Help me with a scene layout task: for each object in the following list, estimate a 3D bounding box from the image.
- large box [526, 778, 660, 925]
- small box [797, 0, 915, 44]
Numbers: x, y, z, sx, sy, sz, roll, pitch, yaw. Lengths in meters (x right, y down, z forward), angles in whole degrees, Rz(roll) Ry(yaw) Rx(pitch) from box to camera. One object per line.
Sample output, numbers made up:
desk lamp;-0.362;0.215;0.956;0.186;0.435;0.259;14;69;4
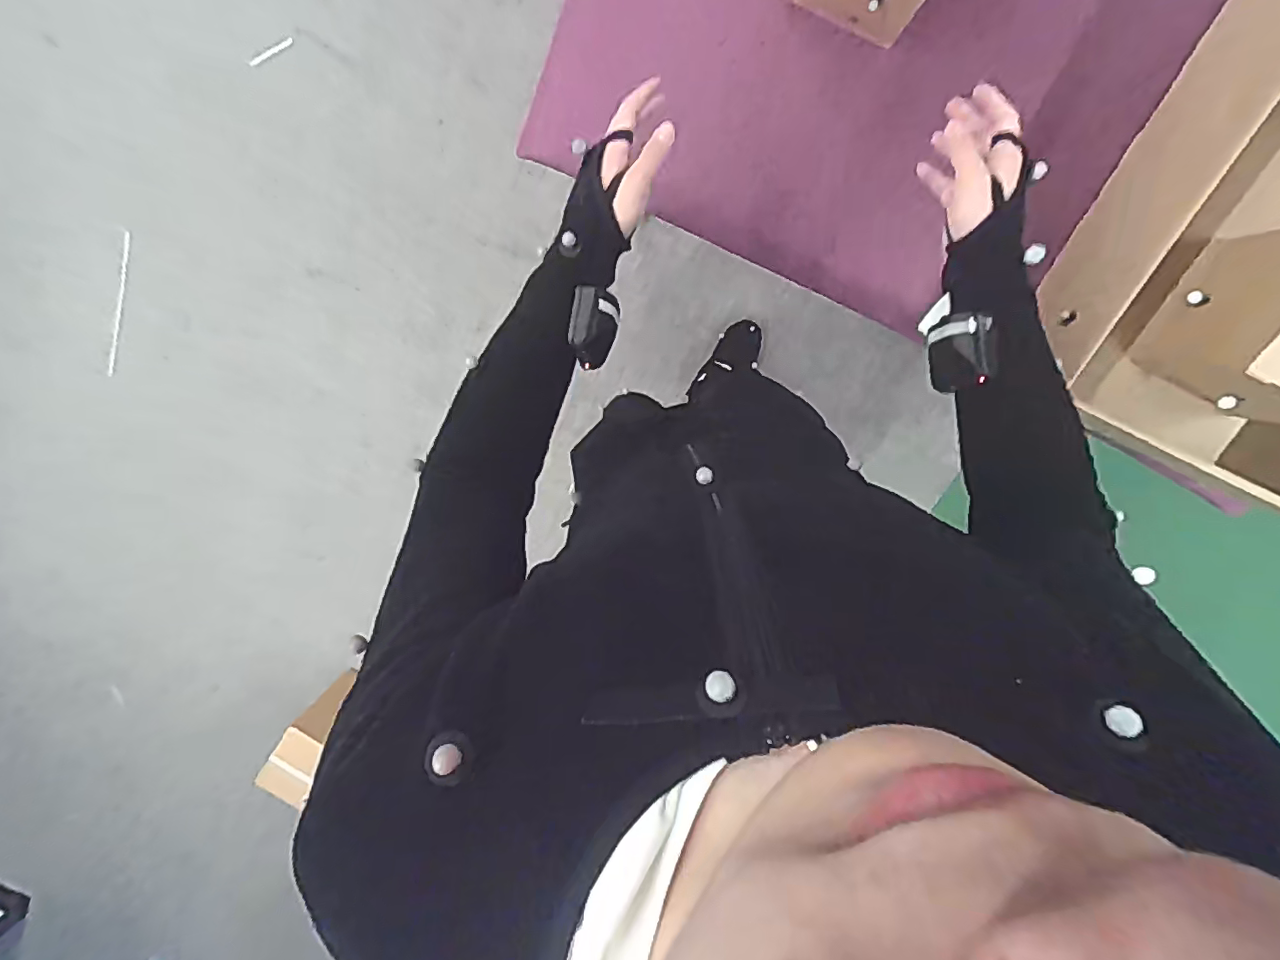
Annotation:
large box;-0.148;1.307;1.921;0.408;0.320;0.320;-6;107;7
small box;0.273;-0.646;0.604;0.168;0.176;0.179;25;108;-3
